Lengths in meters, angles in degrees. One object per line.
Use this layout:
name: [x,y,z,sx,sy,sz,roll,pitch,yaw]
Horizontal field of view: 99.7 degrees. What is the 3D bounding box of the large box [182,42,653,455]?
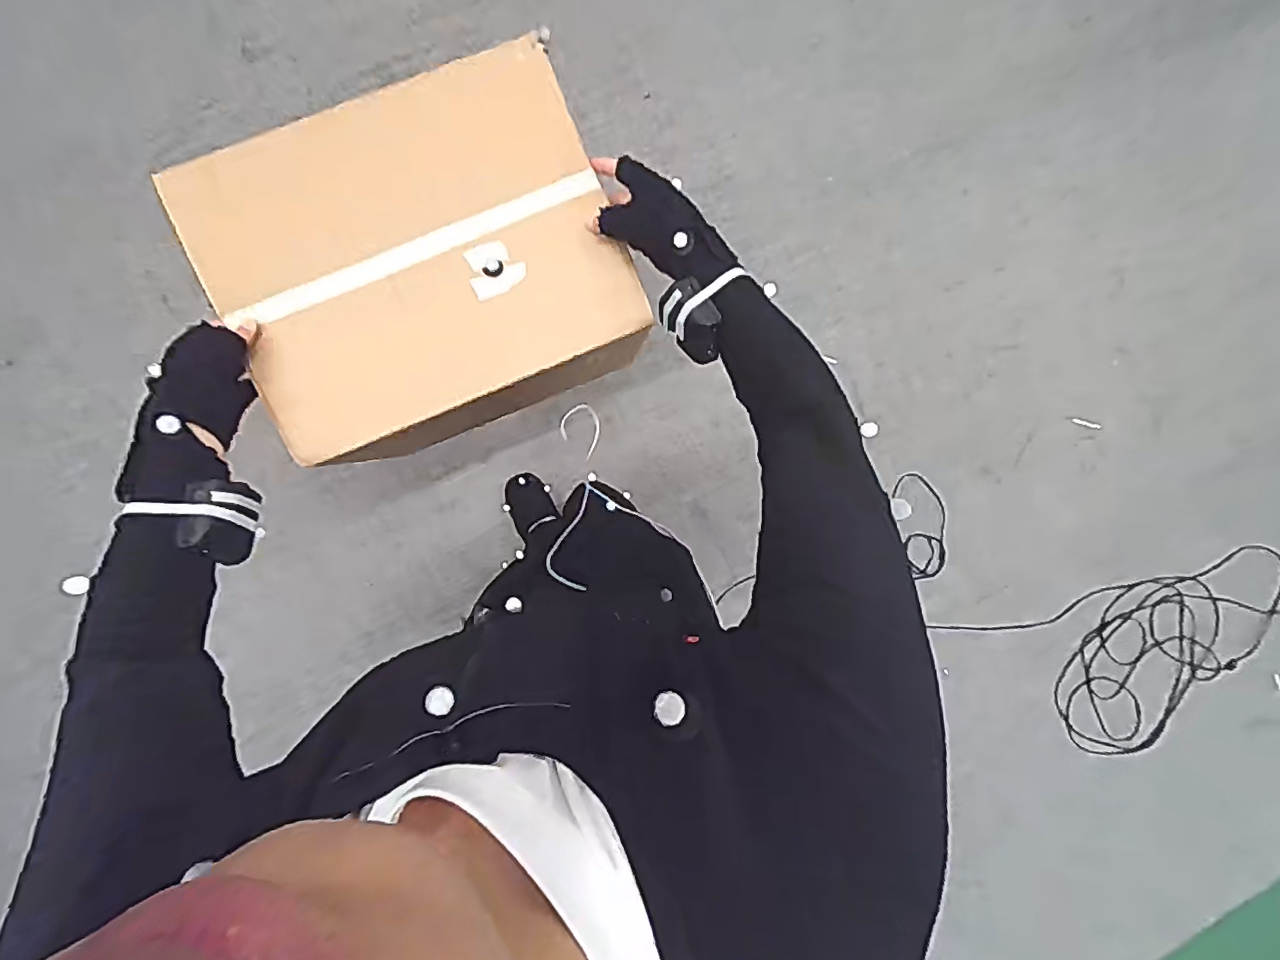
large box: [-0.238,-0.249,0.713,0.408,0.320,0.320,-23,96,-4]
